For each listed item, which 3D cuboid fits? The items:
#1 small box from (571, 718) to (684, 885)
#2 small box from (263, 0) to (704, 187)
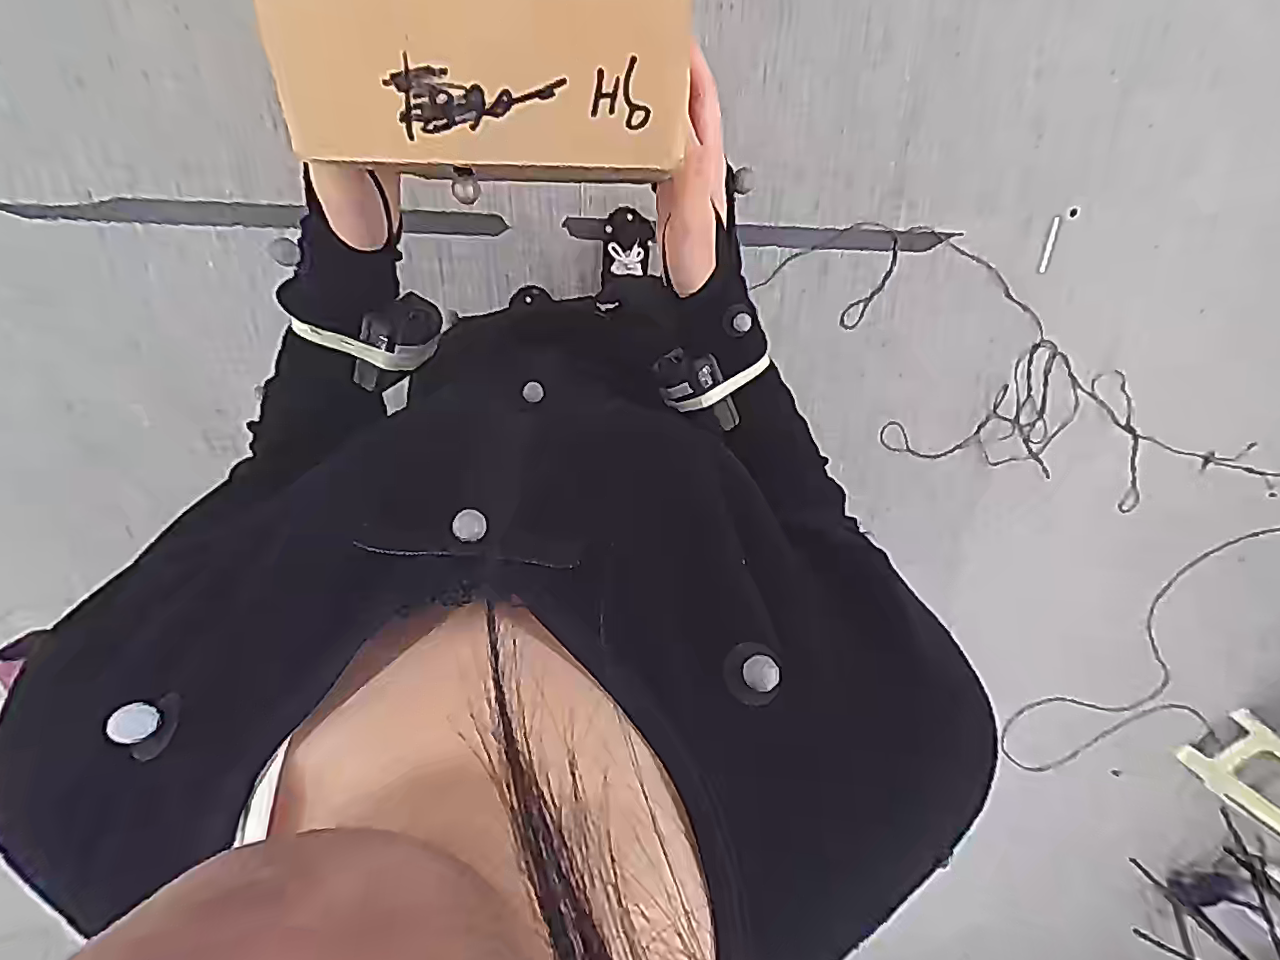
[{"bbox_3d":[-0.029,0.527,0.900,0.168,0.176,0.179,0,112,-8],"label":"small box"},{"bbox_3d":[-0.060,-0.246,0.259,0.168,0.176,0.179,0,117,-3],"label":"small box"}]
